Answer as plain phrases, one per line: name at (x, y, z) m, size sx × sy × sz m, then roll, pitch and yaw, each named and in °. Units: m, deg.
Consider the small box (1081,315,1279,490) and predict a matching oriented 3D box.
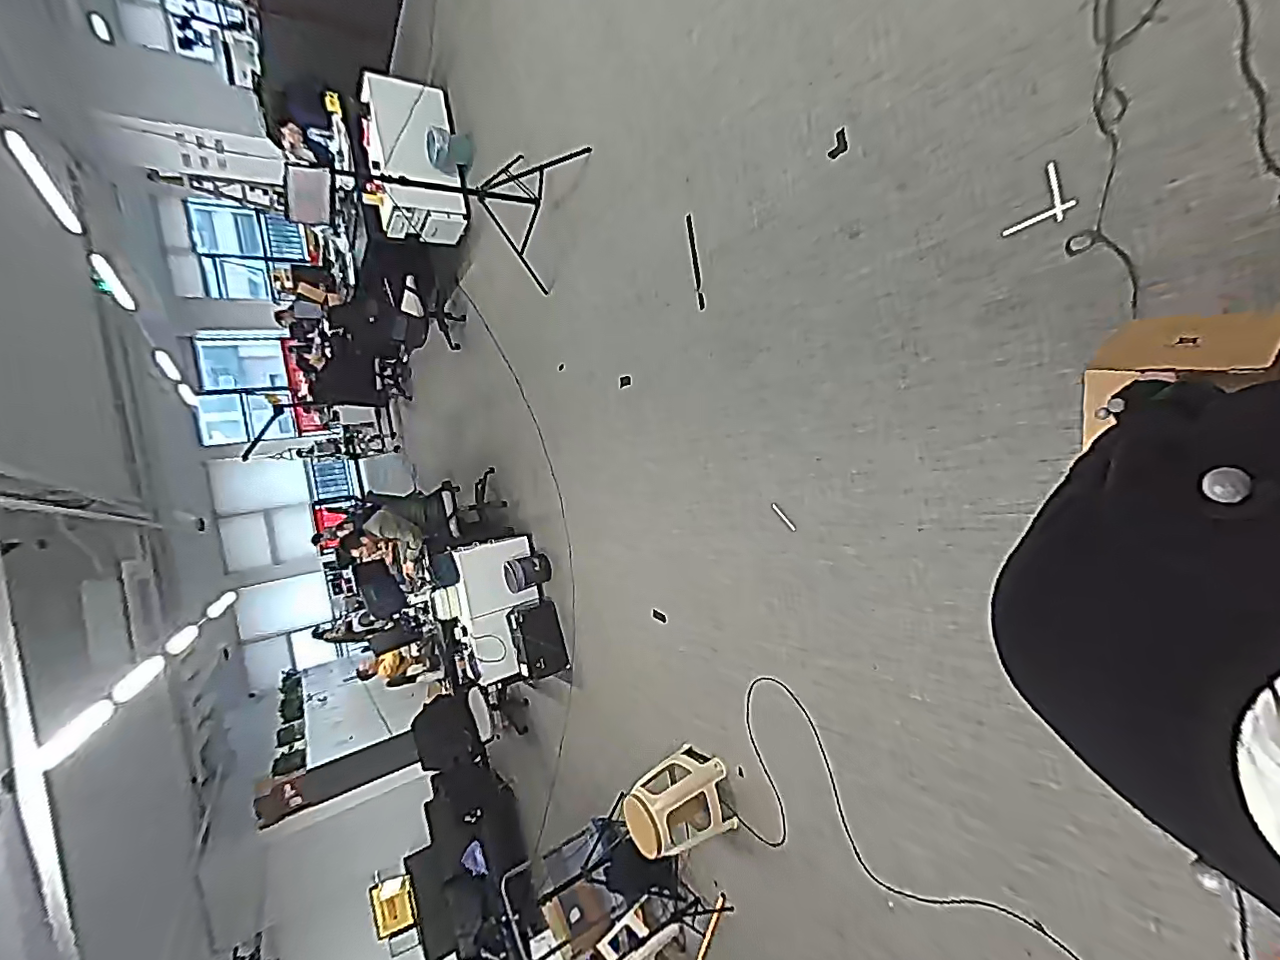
small box at (0.730, -0.106, 0.732) m, size 0.168 × 0.179 × 0.176 m, roll 16°, pitch 134°, yaw 52°
